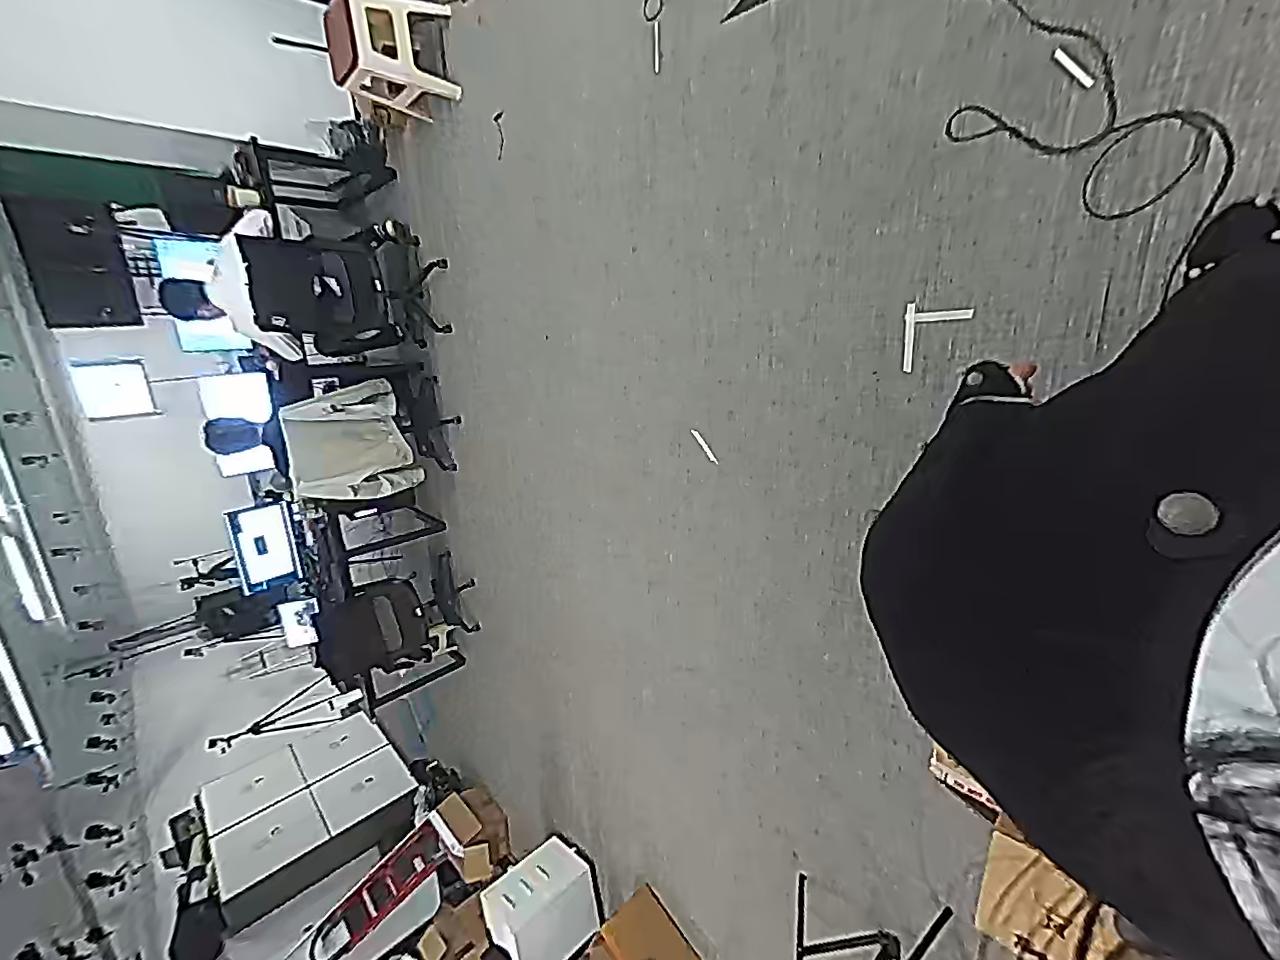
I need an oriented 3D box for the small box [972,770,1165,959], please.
[{"bbox_3d":[0.576,0.538,0.728,0.168,0.176,0.179,15,110,44],"label":"small box"}]
